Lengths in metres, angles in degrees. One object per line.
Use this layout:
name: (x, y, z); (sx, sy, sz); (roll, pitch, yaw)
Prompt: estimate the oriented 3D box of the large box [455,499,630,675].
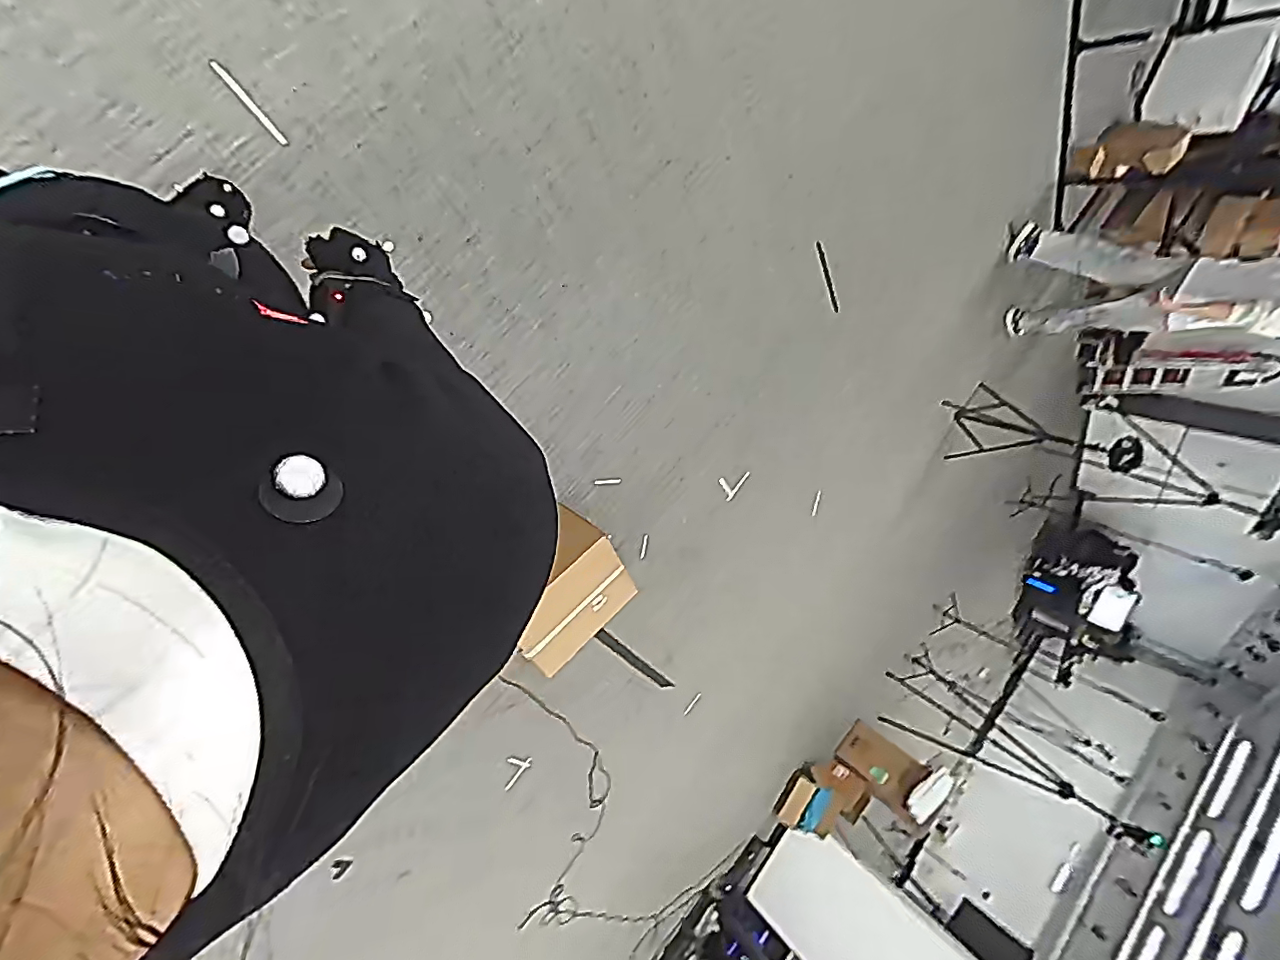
large box: (-0.311, 0.336, 1.771); (0.408, 0.320, 0.320); (-43, 134, -21)
